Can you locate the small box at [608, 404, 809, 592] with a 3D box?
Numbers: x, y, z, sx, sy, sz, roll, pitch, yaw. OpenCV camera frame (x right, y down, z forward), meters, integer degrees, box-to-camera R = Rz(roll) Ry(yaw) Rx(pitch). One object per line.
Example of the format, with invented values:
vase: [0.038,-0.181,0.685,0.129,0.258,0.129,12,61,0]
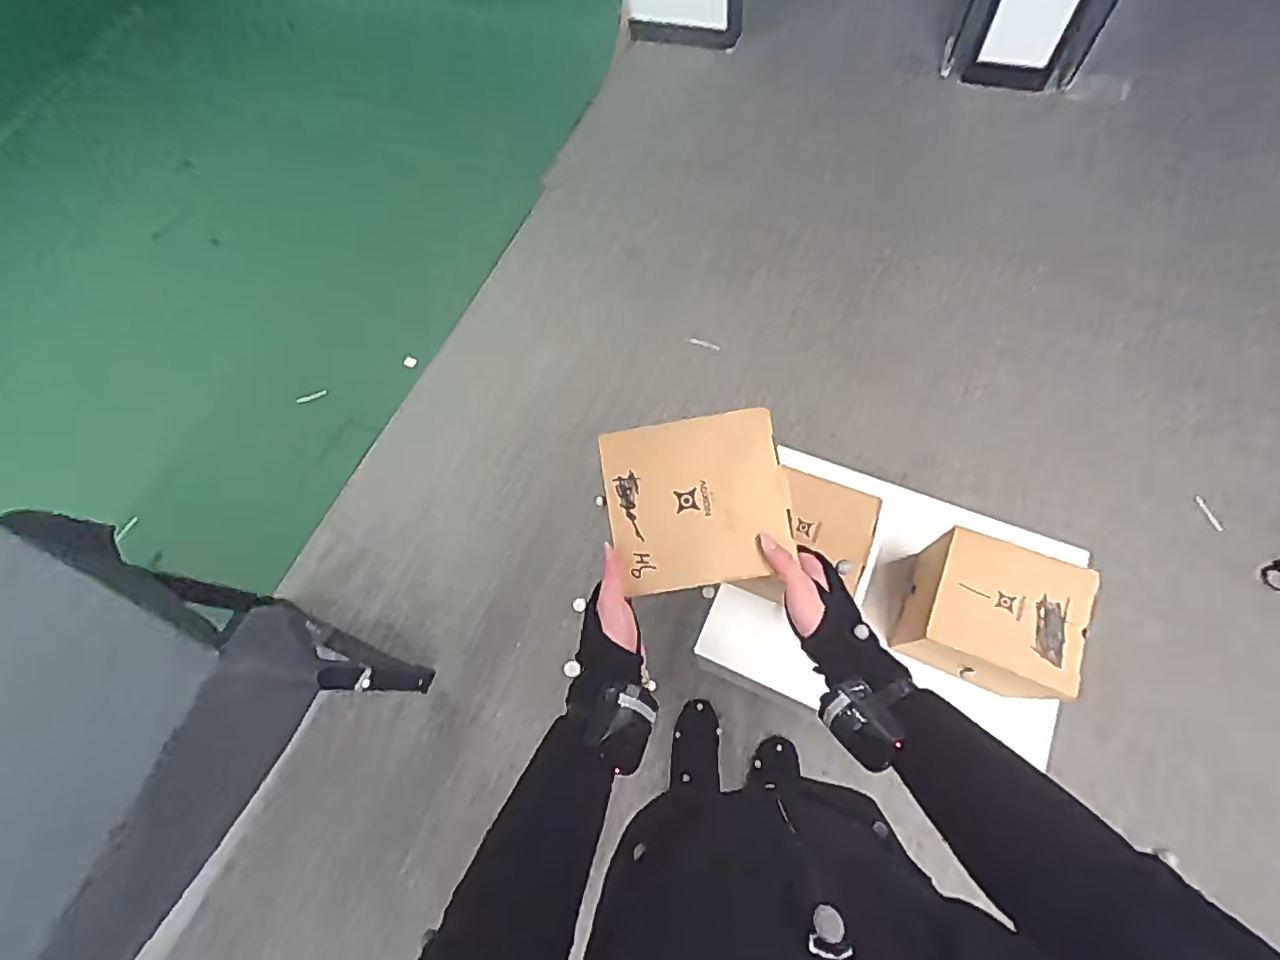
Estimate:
small box: [0.065,0.029,0.594,0.179,0.176,0.168,-8,78,1]

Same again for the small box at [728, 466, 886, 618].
small box: [0.241,0.098,0.821,0.179,0.176,0.168,20,70,14]

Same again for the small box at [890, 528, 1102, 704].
small box: [0.480,0.192,0.753,0.179,0.176,0.168,22,71,16]
